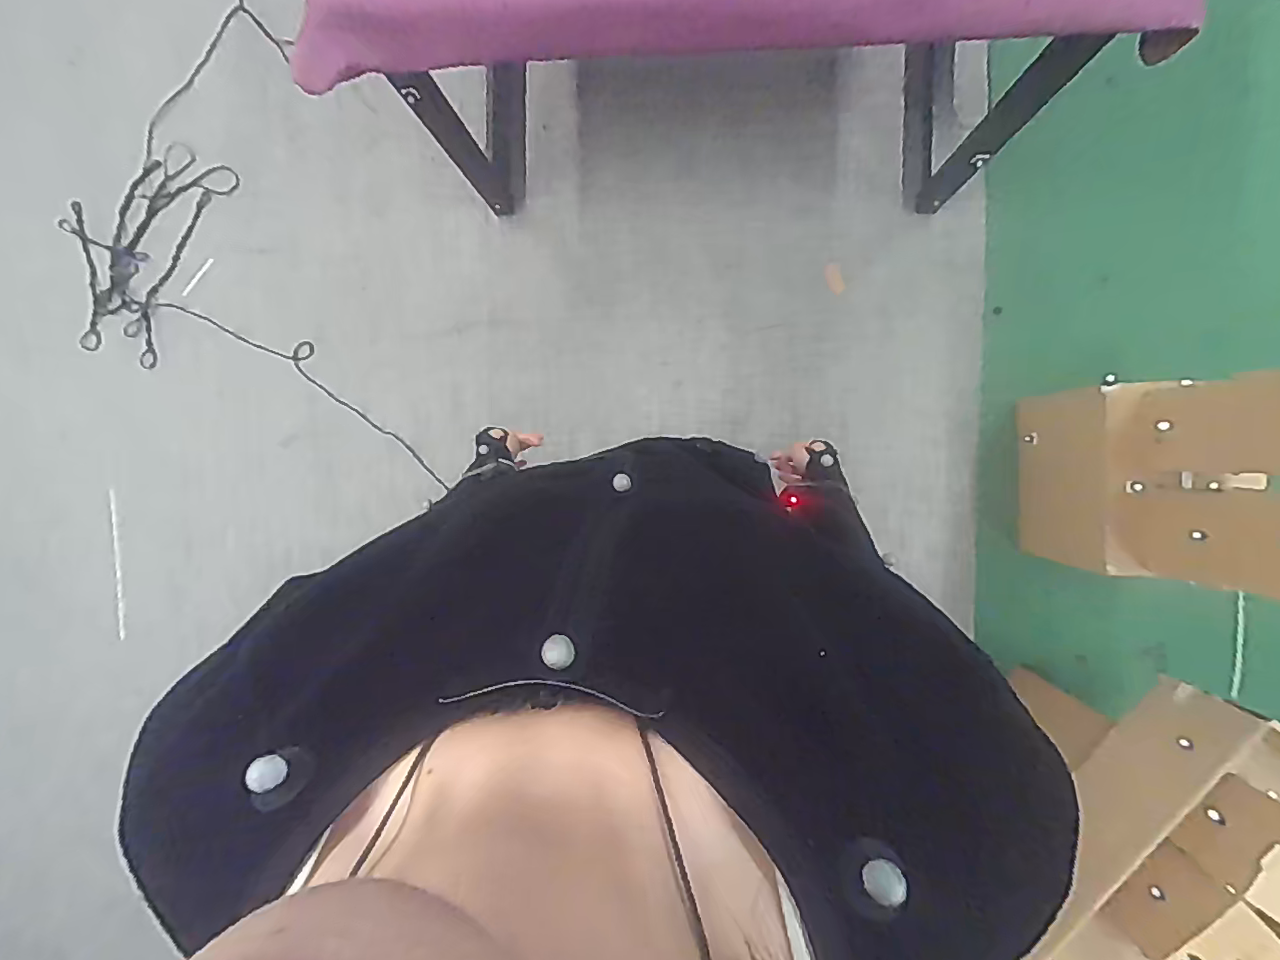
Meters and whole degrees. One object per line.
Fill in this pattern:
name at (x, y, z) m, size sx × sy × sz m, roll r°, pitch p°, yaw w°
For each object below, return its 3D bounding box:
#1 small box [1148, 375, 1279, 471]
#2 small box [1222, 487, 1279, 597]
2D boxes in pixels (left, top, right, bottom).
small box at (1.116, -0.106, 1.013) m, size 0.179 × 0.176 × 0.168 m, roll -4°, pitch 92°, yaw 5°
small box at (1.099, 0.109, 0.861) m, size 0.168 × 0.176 × 0.179 m, roll 5°, pitch 92°, yaw 6°
